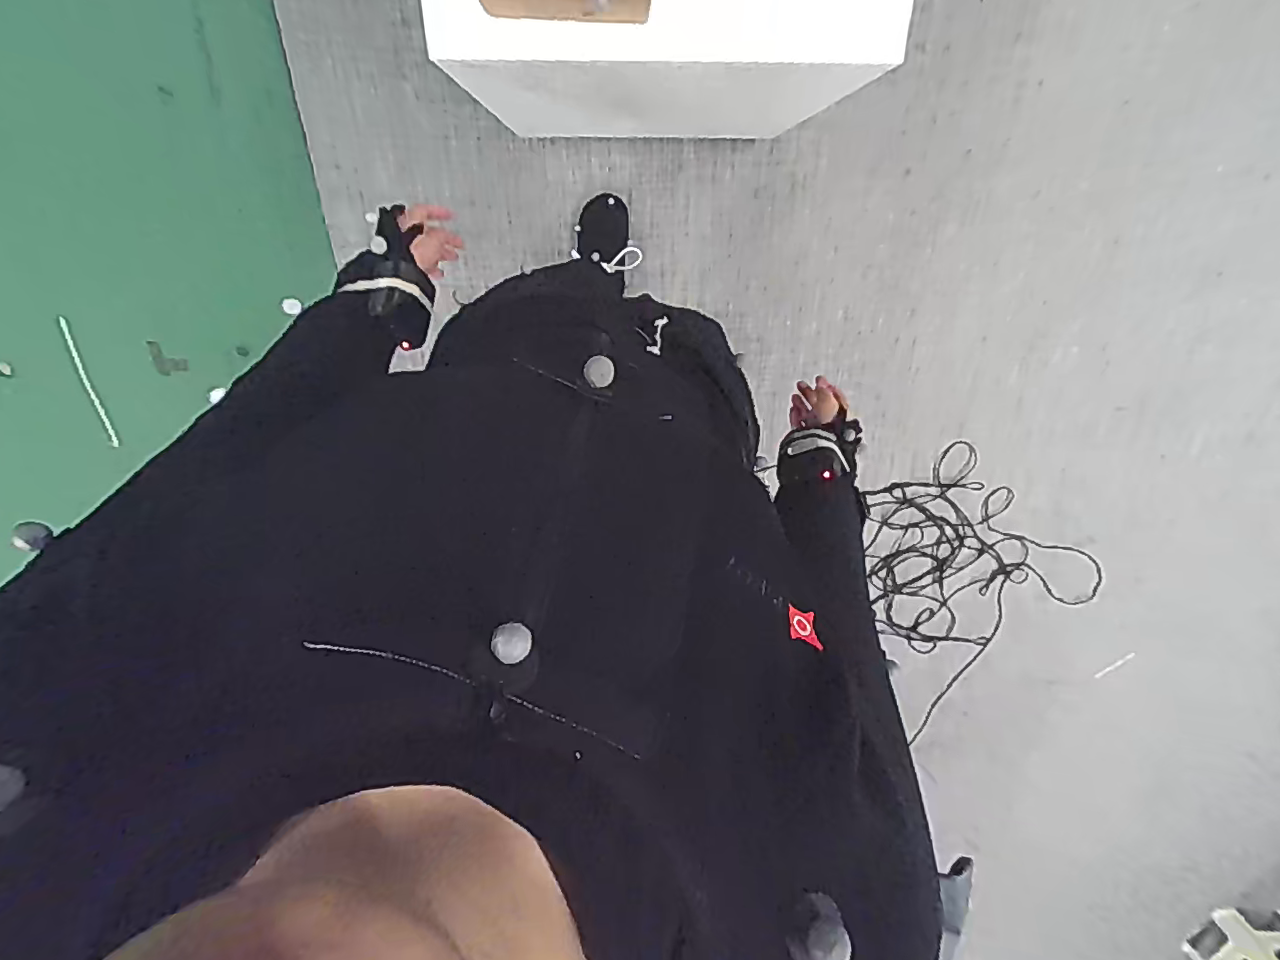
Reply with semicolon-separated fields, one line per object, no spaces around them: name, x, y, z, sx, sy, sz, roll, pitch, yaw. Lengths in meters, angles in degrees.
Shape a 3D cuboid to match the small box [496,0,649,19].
small box;-0.067;-0.516;0.444;0.168;0.176;0.179;0;114;-4
